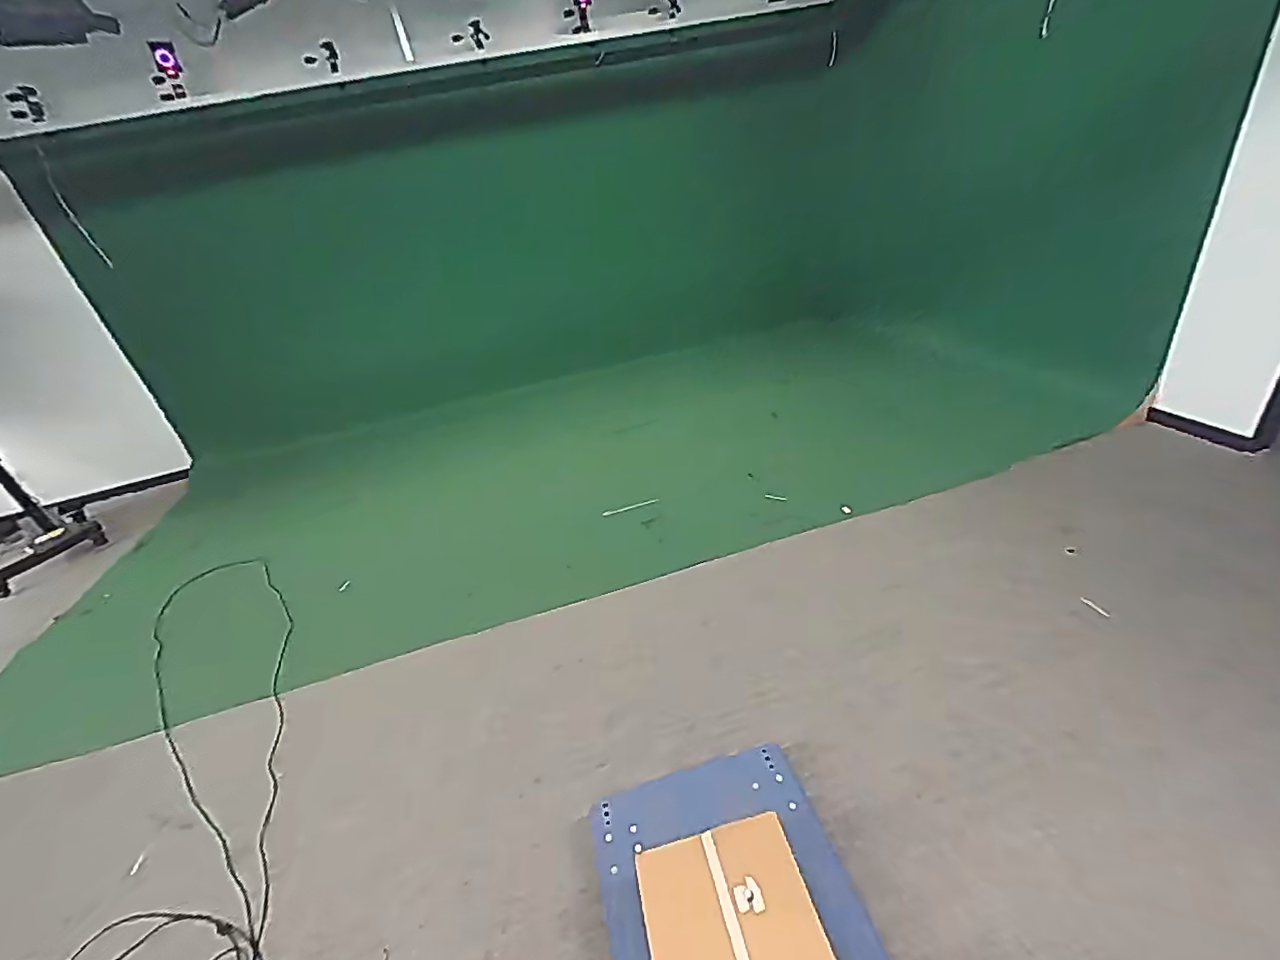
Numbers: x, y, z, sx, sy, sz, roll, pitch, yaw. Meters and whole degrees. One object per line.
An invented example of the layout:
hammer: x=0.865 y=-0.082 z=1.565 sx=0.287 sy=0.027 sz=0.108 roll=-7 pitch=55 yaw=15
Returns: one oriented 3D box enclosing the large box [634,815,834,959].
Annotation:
large box: x=0.201 y=0.967 z=1.039 sx=0.320 sy=0.320 sz=0.408 roll=-14 pitch=29 yaw=-5
